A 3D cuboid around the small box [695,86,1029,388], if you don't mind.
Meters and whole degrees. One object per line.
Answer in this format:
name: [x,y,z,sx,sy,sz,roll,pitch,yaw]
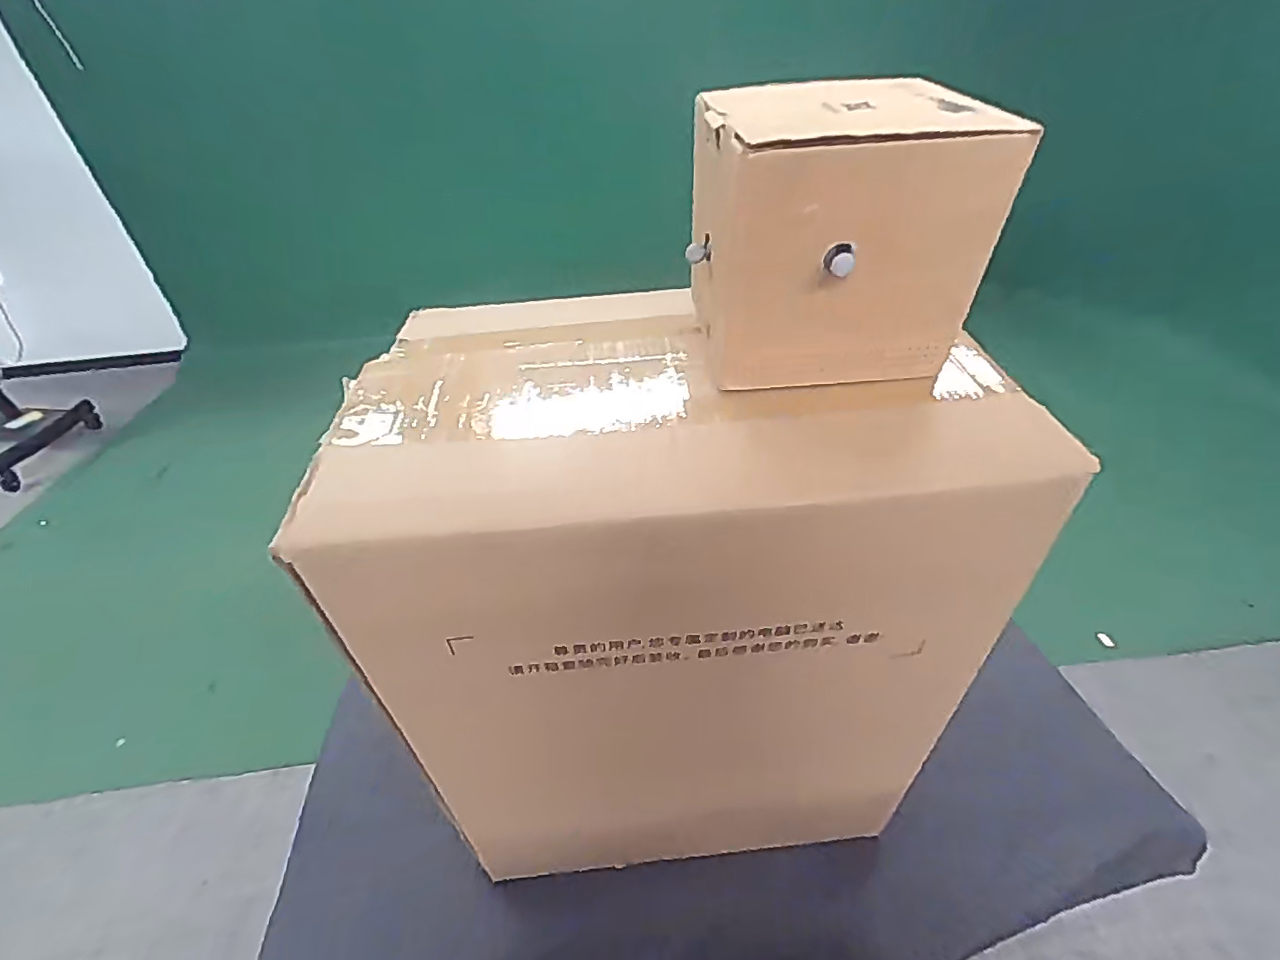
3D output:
small box: [0.139,-0.185,0.420,0.179,0.176,0.168,-5,45,-1]
